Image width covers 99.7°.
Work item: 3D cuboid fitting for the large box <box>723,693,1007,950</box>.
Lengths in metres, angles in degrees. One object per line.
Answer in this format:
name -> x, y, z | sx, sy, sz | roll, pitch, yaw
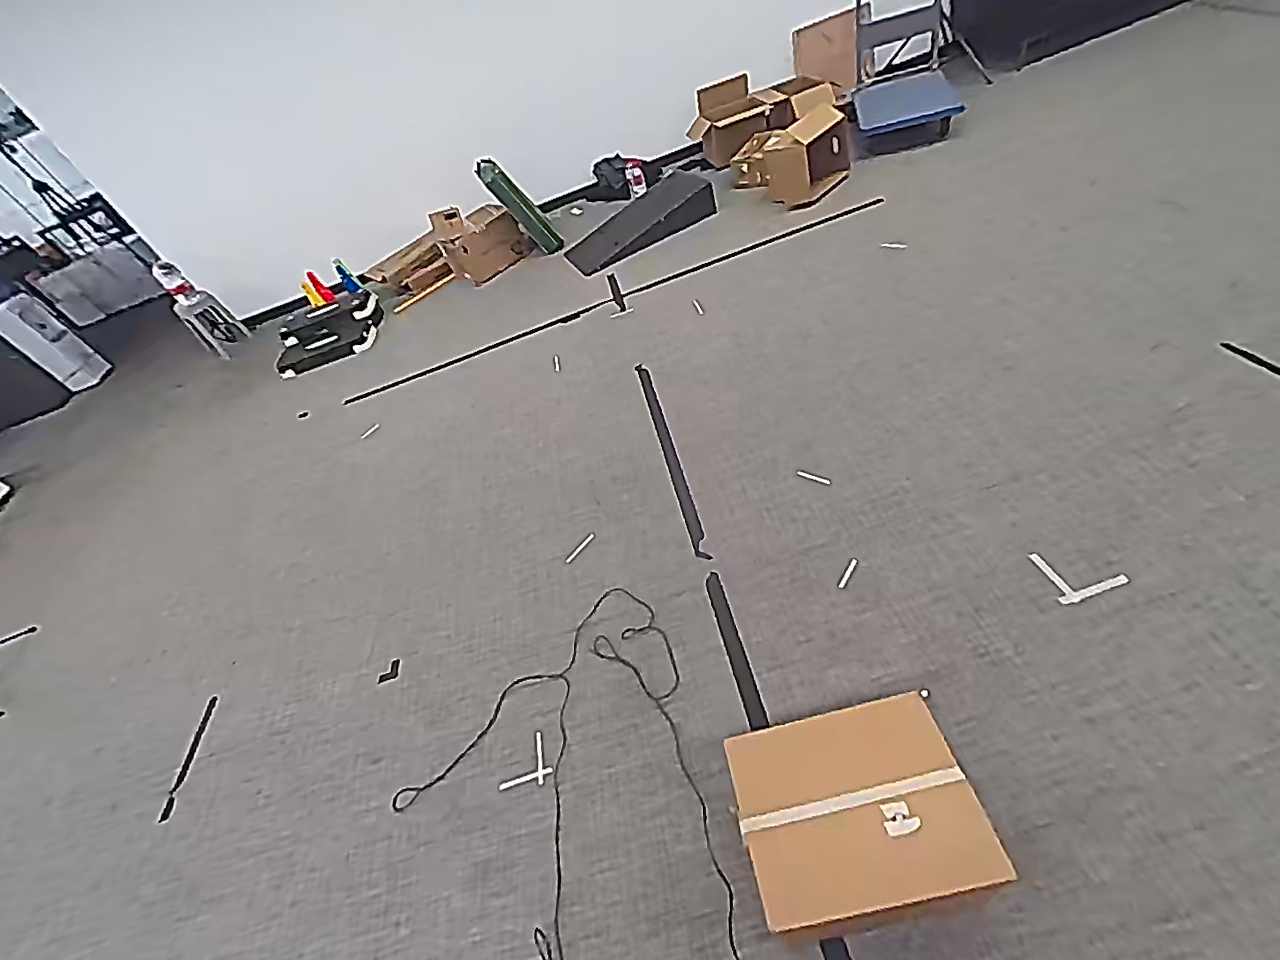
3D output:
large box -> 0.417, 0.688, 1.086 | 0.408, 0.320, 0.320 | -17, 44, 4
